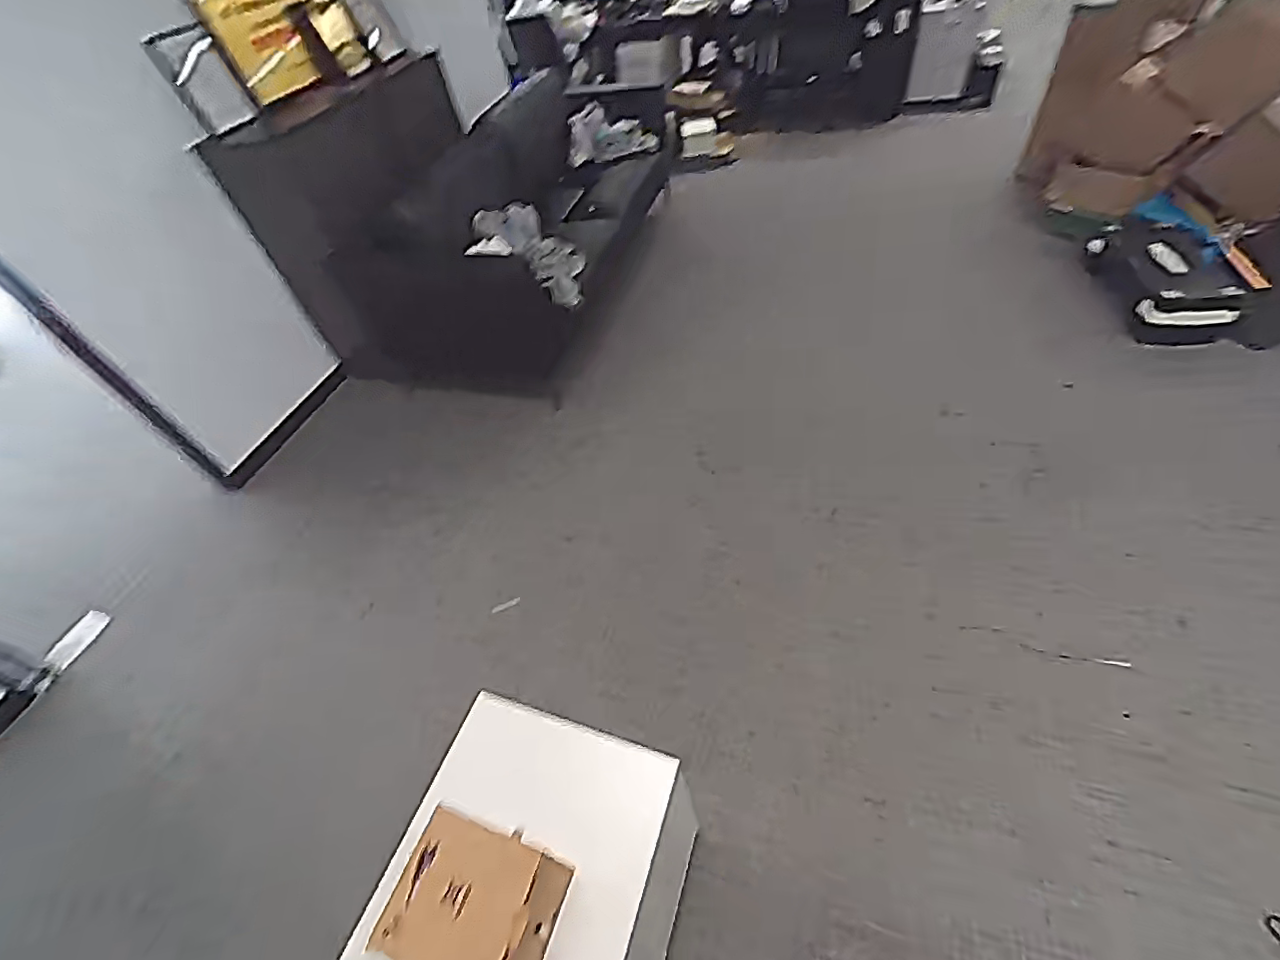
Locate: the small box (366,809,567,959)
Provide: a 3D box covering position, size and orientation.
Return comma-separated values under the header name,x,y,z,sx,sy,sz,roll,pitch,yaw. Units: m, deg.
name,x,y,z,sx,sy,sz,roll,pitch,yaw
small box,-0.218,0.581,0.739,0.179,0.176,0.168,8,51,17
